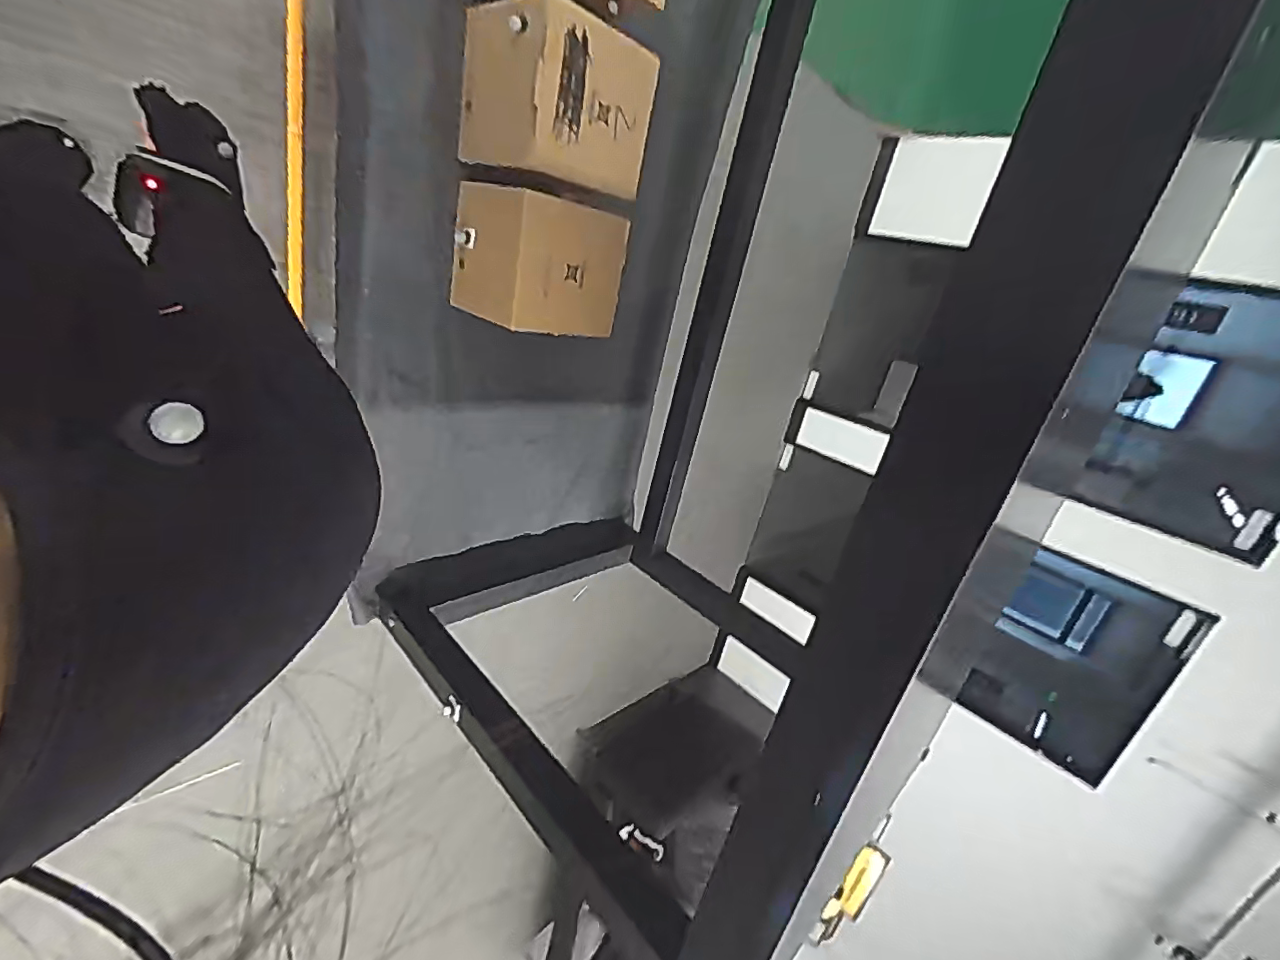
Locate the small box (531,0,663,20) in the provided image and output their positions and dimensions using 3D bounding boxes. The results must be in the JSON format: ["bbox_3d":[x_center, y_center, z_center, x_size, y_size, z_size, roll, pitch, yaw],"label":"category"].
[{"bbox_3d":[-0.074,-0.659,0.614,0.179,0.176,0.168,-12,122,-46],"label":"small box"}]
